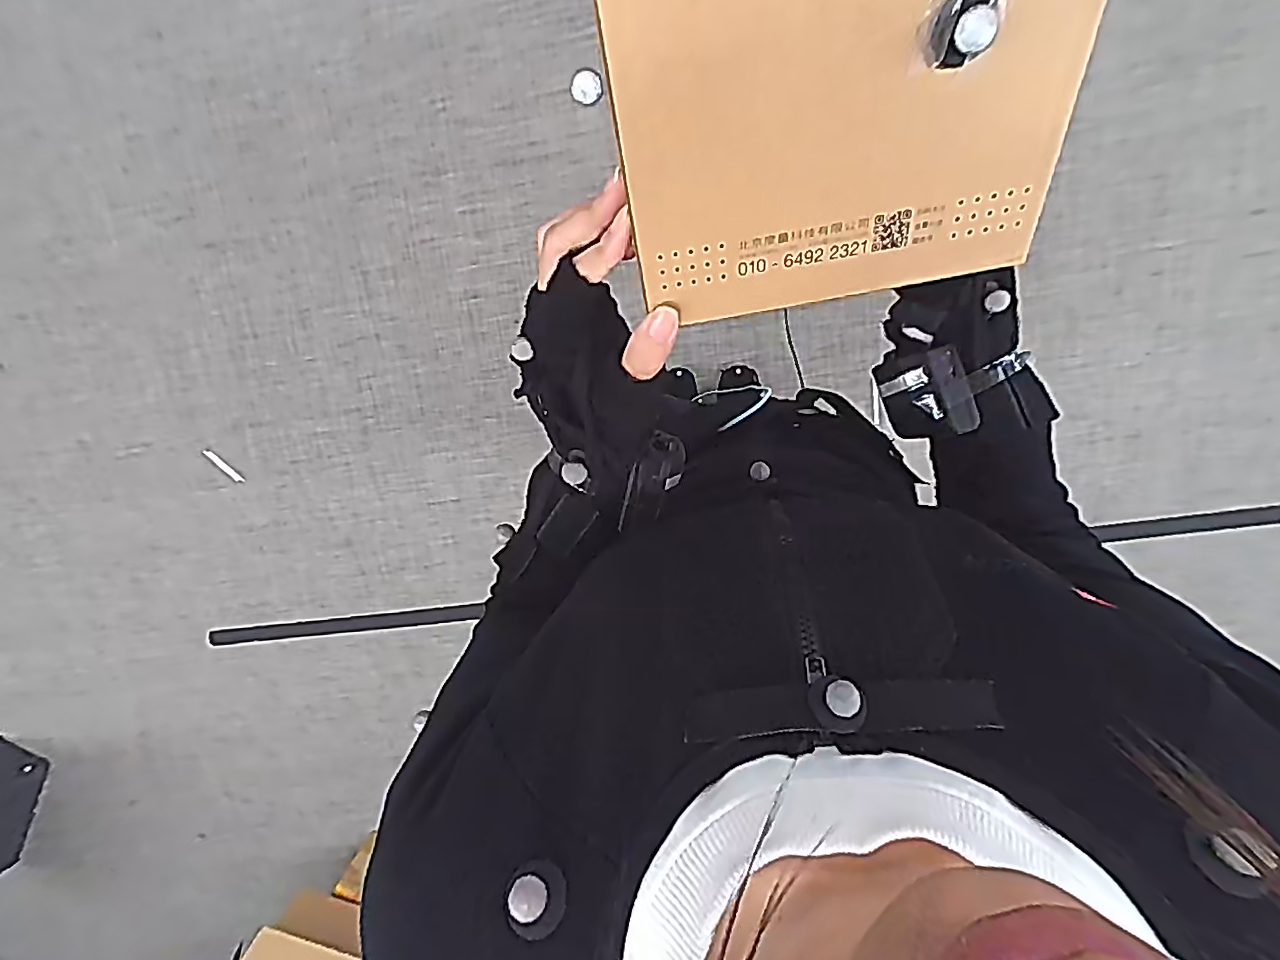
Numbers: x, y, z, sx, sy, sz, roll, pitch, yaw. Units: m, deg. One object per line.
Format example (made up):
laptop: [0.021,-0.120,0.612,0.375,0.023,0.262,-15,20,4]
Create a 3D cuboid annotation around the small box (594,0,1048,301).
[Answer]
small box: [0.070,-0.201,0.266,0.168,0.179,0.176,-8,131,5]
